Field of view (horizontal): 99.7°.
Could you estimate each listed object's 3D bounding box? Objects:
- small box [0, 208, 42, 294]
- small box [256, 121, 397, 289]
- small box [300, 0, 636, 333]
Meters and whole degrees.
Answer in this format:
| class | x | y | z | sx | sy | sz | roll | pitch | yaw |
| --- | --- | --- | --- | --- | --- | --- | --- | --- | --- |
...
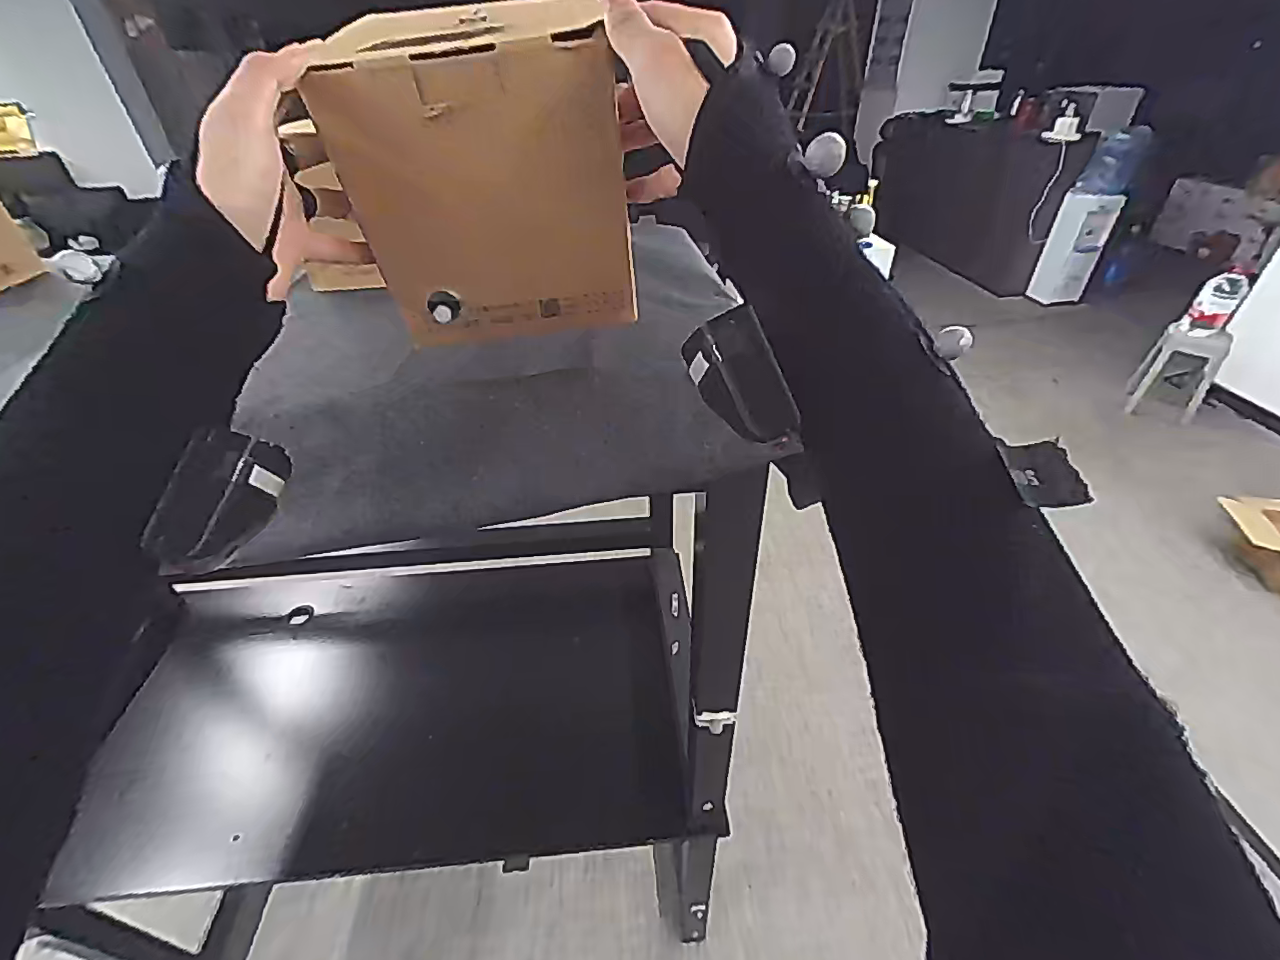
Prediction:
| class | x | y | z | sx | sy | sz | roll | pitch | yaw |
| --- | --- | --- | --- | --- | --- | --- | --- | --- | --- |
| small box | -0.895 | -0.295 | 0.634 | 0.179 | 0.176 | 0.168 | -5 | 38 | -5 |
| small box | -0.322 | -0.346 | 0.676 | 0.168 | 0.176 | 0.179 | -5 | 38 | -4 |
| small box | -0.096 | -0.220 | 0.391 | 0.168 | 0.176 | 0.179 | -7 | 47 | -1 |
